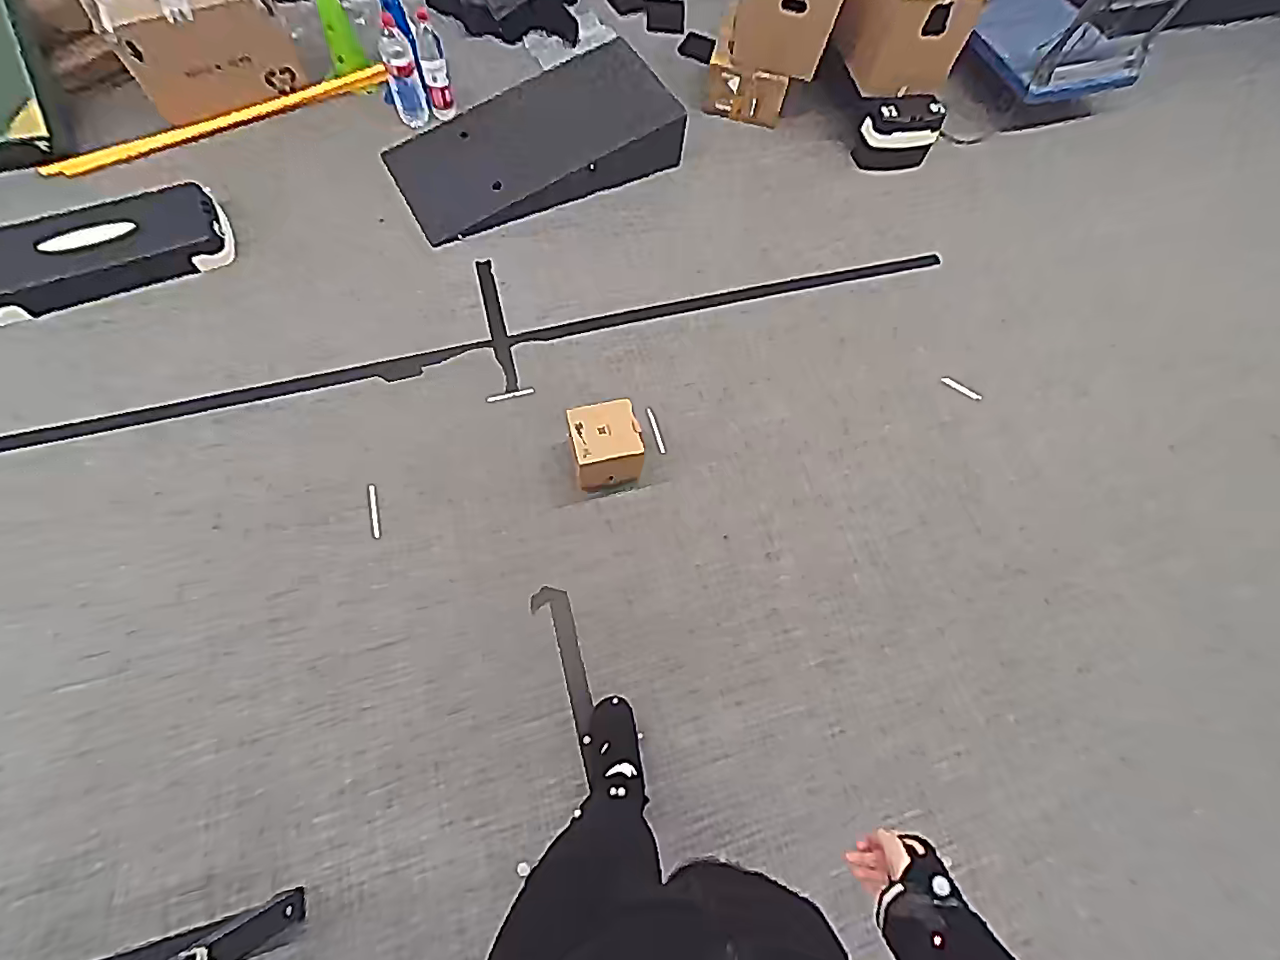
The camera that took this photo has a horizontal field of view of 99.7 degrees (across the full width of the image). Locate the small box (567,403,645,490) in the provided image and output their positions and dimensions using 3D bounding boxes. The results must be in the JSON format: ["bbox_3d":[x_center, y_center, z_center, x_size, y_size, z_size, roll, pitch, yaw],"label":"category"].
[{"bbox_3d":[-0.098,-0.087,1.463,0.179,0.176,0.168,-11,68,-11],"label":"small box"}]
